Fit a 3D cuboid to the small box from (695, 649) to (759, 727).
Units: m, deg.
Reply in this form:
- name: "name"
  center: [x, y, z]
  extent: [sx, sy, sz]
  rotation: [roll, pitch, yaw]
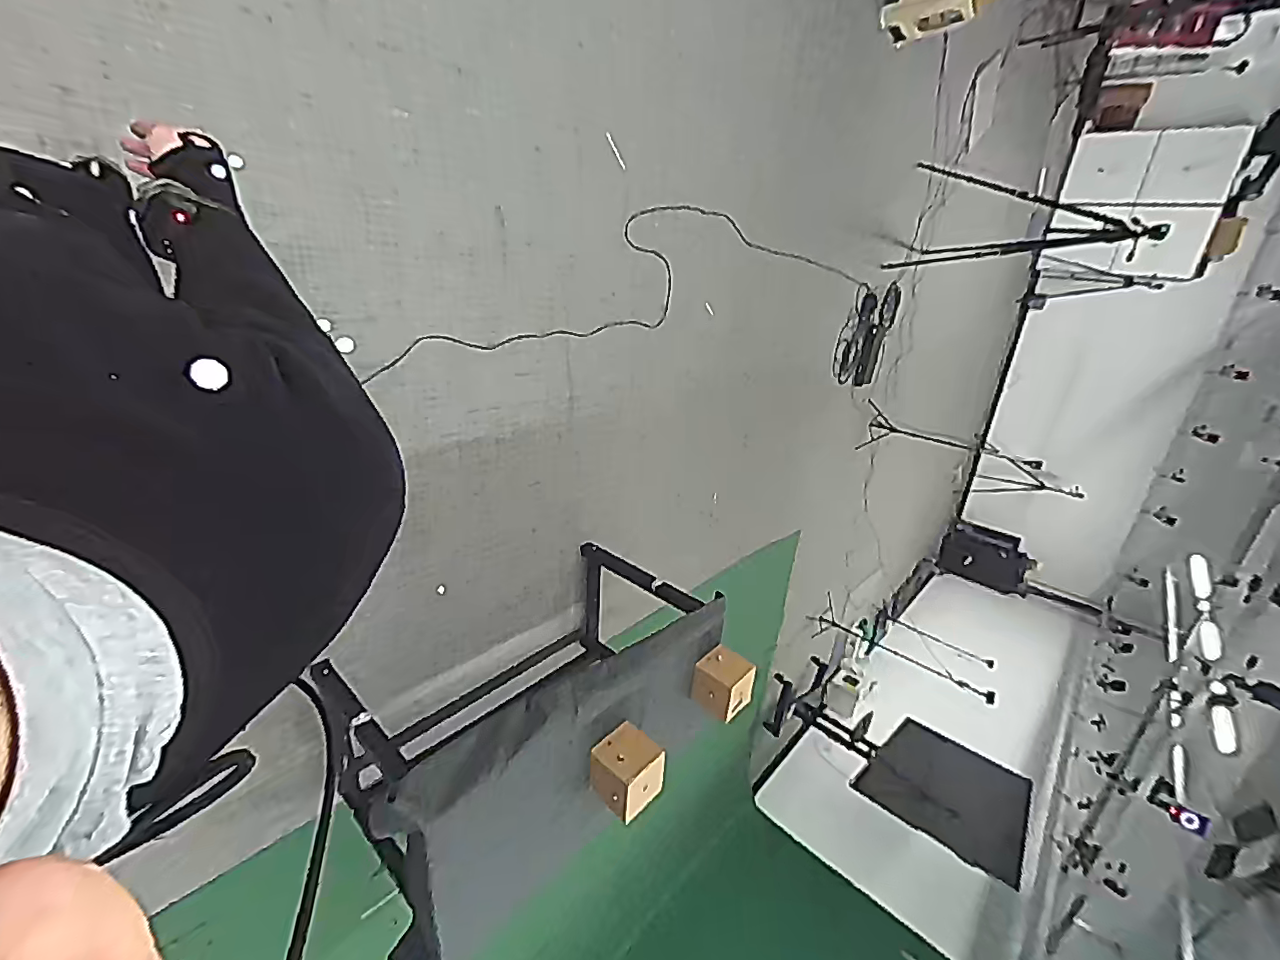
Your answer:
- name: "small box"
  center: [0.320, 0.771, 2.024]
  extent: [0.168, 0.176, 0.179]
  rotation: [-21, 123, -44]

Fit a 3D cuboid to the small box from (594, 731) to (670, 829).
- name: "small box"
  center: [-0.028, 0.911, 1.667]
  extent: [0.168, 0.176, 0.179]
  rotation: [-22, 124, -43]
